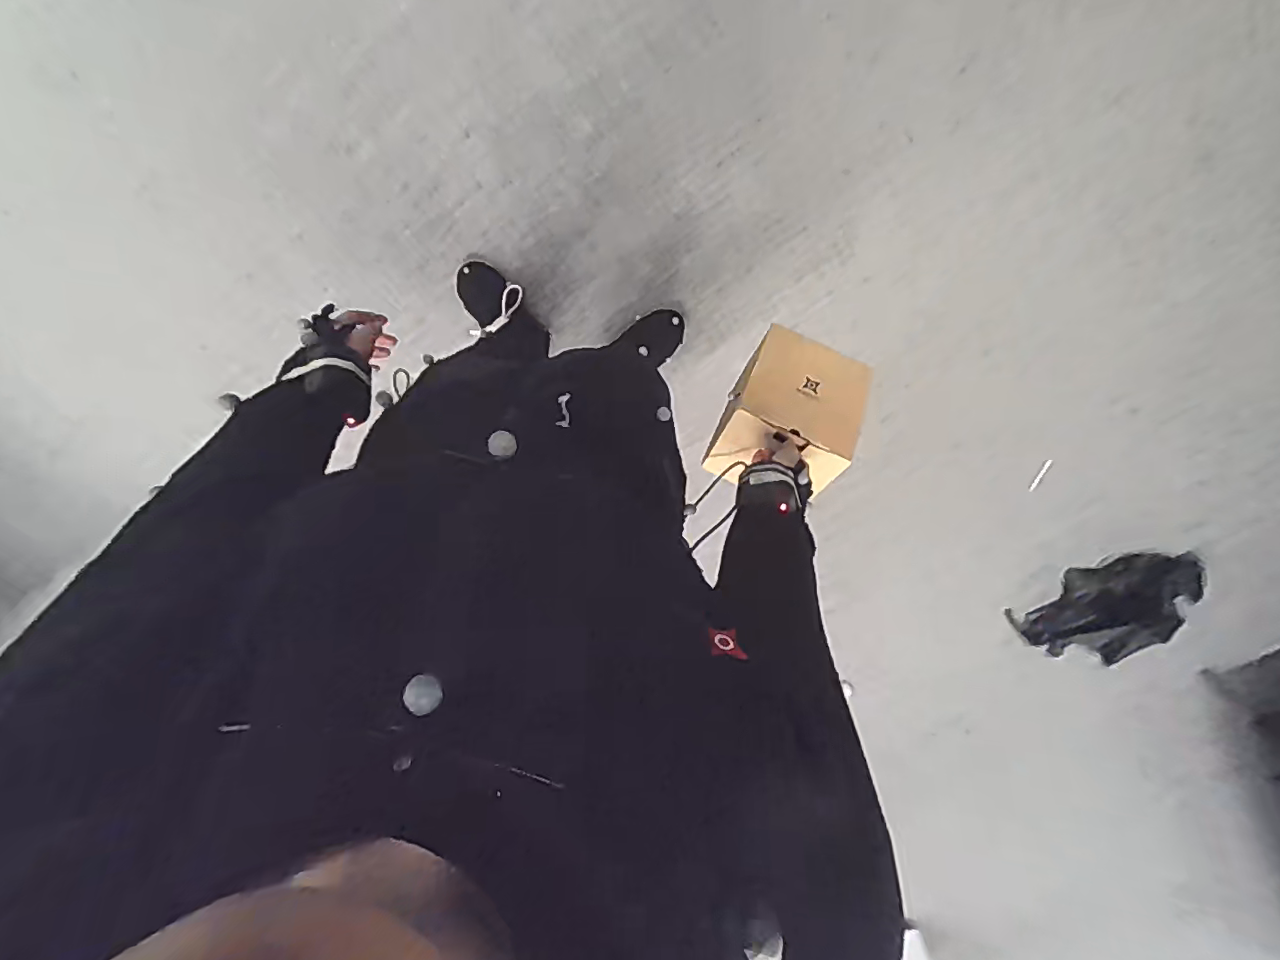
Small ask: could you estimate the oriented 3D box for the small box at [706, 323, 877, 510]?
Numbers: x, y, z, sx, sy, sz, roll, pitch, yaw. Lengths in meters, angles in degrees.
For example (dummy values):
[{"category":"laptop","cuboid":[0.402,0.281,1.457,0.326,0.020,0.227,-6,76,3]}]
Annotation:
[{"category":"small box","cuboid":[0.214,-0.086,0.794,0.168,0.179,0.176,26,152,1]}]
